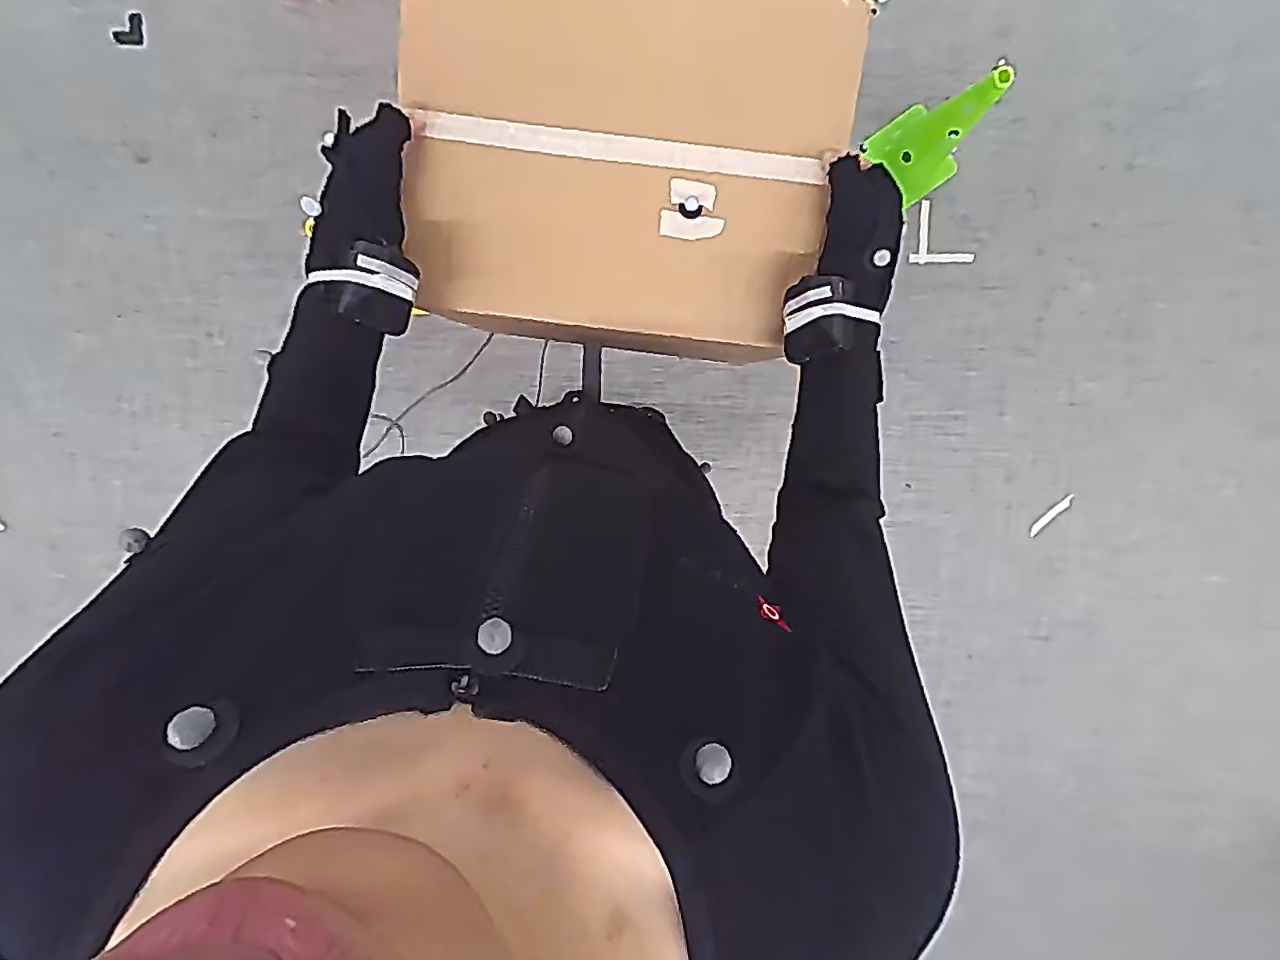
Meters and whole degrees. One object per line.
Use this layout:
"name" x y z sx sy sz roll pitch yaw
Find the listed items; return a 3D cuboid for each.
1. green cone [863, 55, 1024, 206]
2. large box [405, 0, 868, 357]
"green cone" 0.701 -0.808 1.206 0.202 0.368 0.200 -36 98 2
"large box" -0.015 -0.329 0.639 0.408 0.320 0.320 6 100 -2
